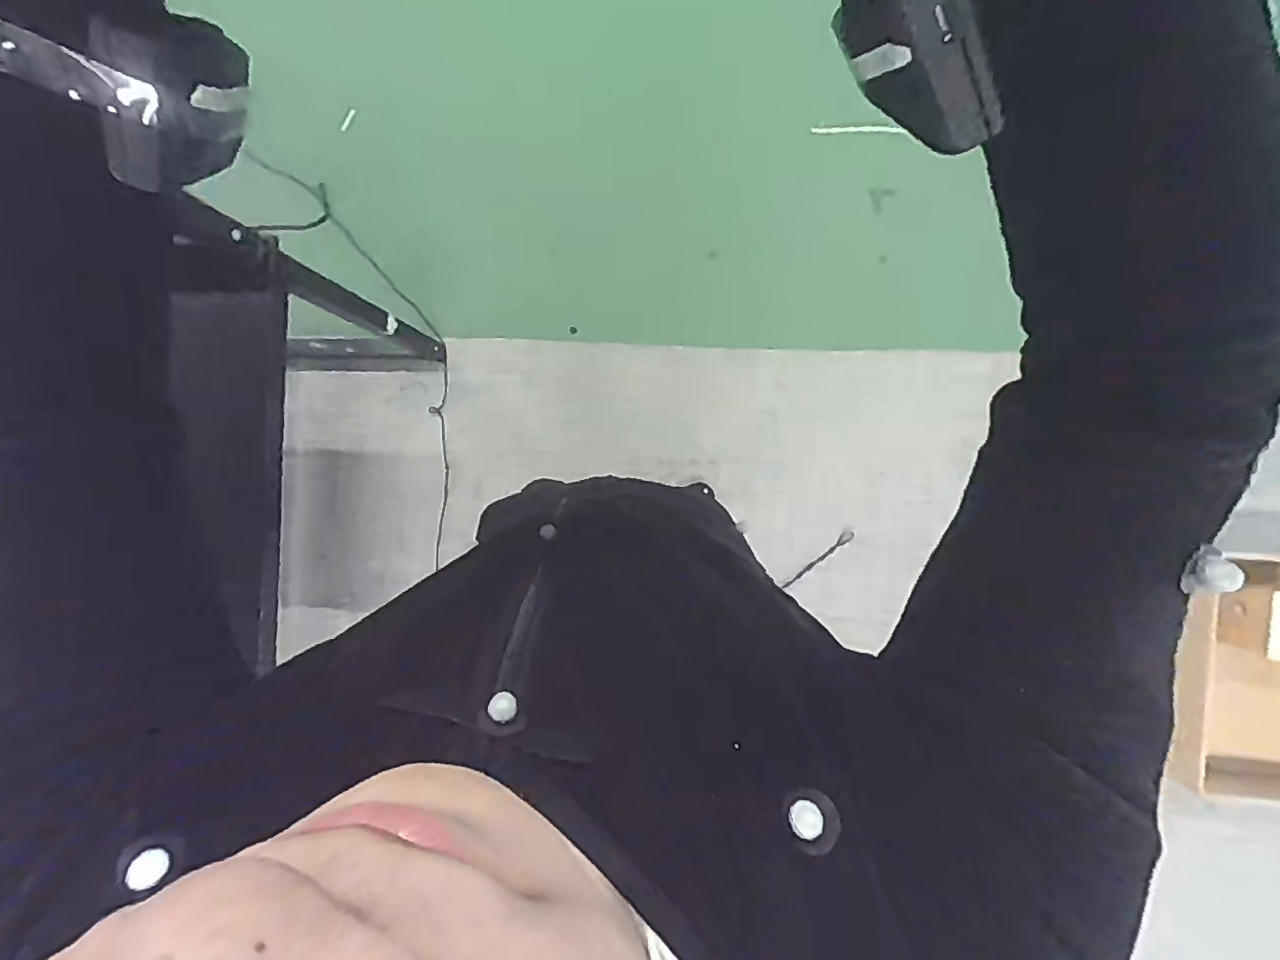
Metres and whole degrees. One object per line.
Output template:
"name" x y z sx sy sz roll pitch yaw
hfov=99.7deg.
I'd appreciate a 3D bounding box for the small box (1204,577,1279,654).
"small box" 1.608 0.346 1.379 0.179 0.176 0.168 4 90 4
